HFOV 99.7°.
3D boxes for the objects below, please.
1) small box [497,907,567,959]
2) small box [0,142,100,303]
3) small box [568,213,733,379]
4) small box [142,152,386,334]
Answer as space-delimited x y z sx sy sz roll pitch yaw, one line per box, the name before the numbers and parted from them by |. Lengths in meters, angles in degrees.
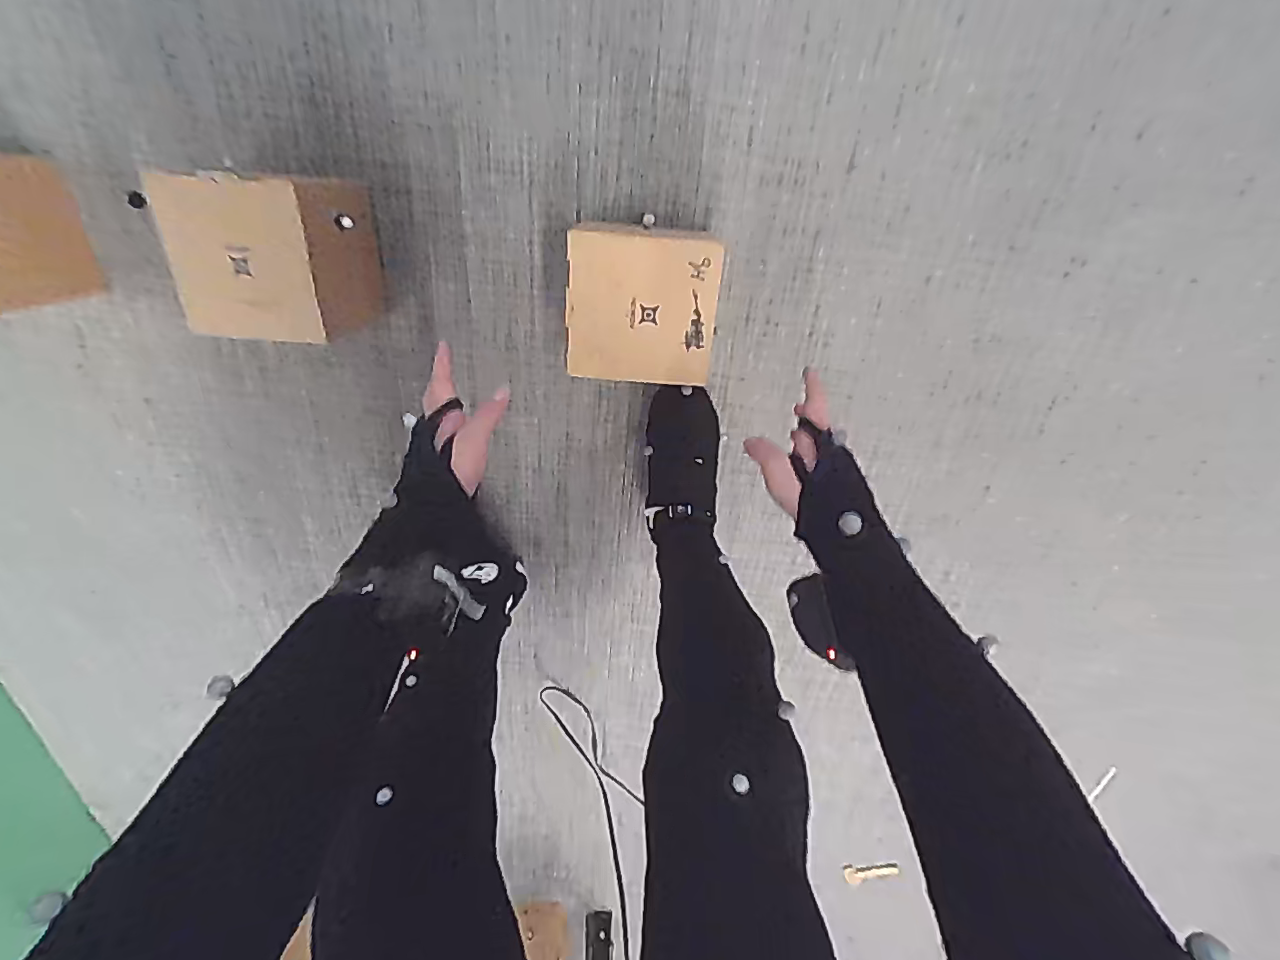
small box | -0.312 1.368 1.559 0.168 0.176 0.179 -3 118 3
small box | -0.838 -0.319 0.664 0.168 0.176 0.179 4 117 0
small box | 0.010 -0.239 0.683 0.179 0.176 0.168 5 119 -1
small box | -0.439 -0.292 0.668 0.168 0.176 0.179 5 118 0
